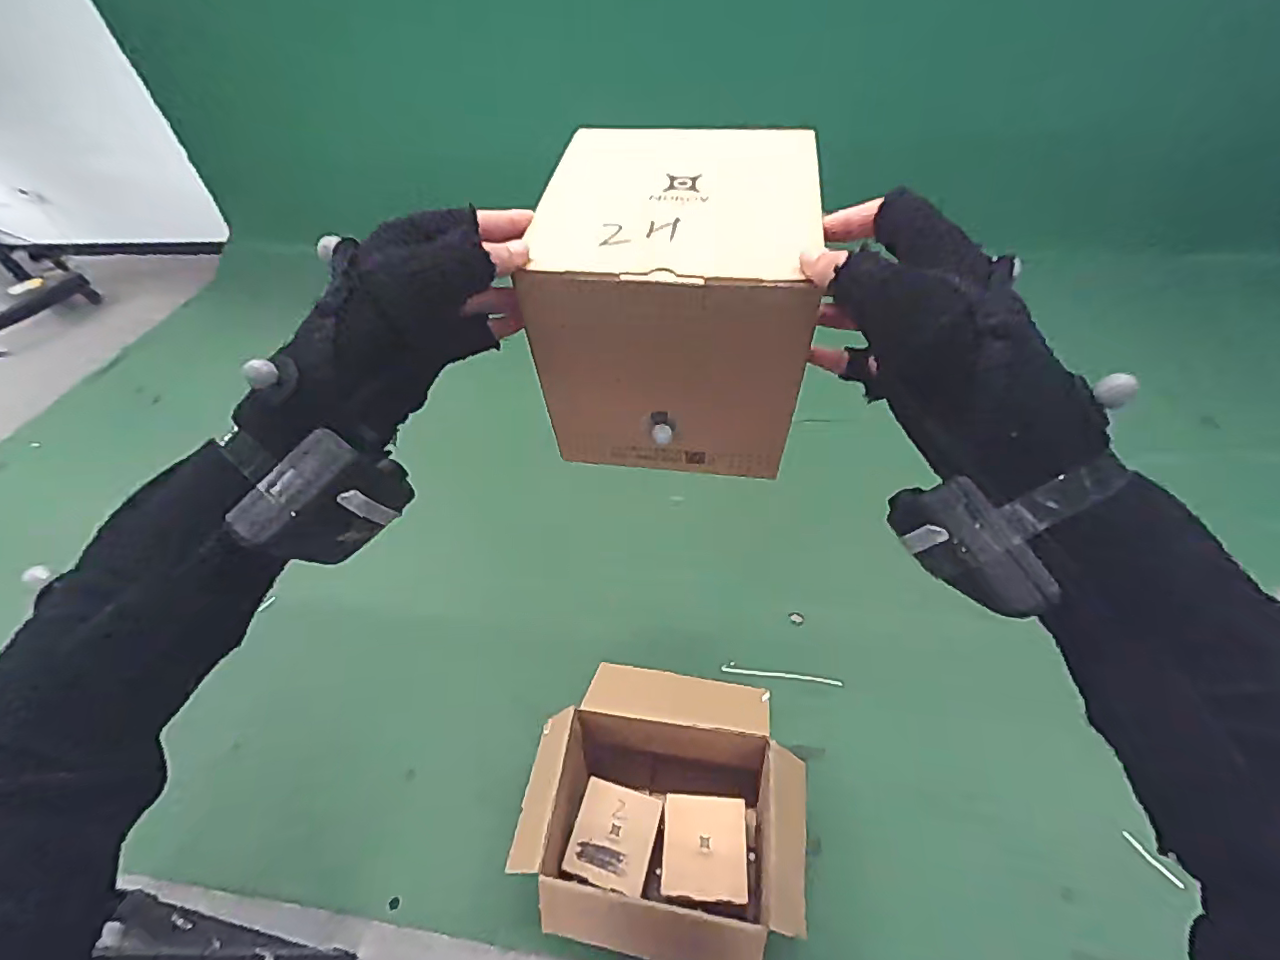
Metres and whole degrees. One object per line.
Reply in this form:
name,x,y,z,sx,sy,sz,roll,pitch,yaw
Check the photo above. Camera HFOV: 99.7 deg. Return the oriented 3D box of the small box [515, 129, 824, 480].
small box,0.028,-0.124,0.391,0.168,0.176,0.179,5,55,8
